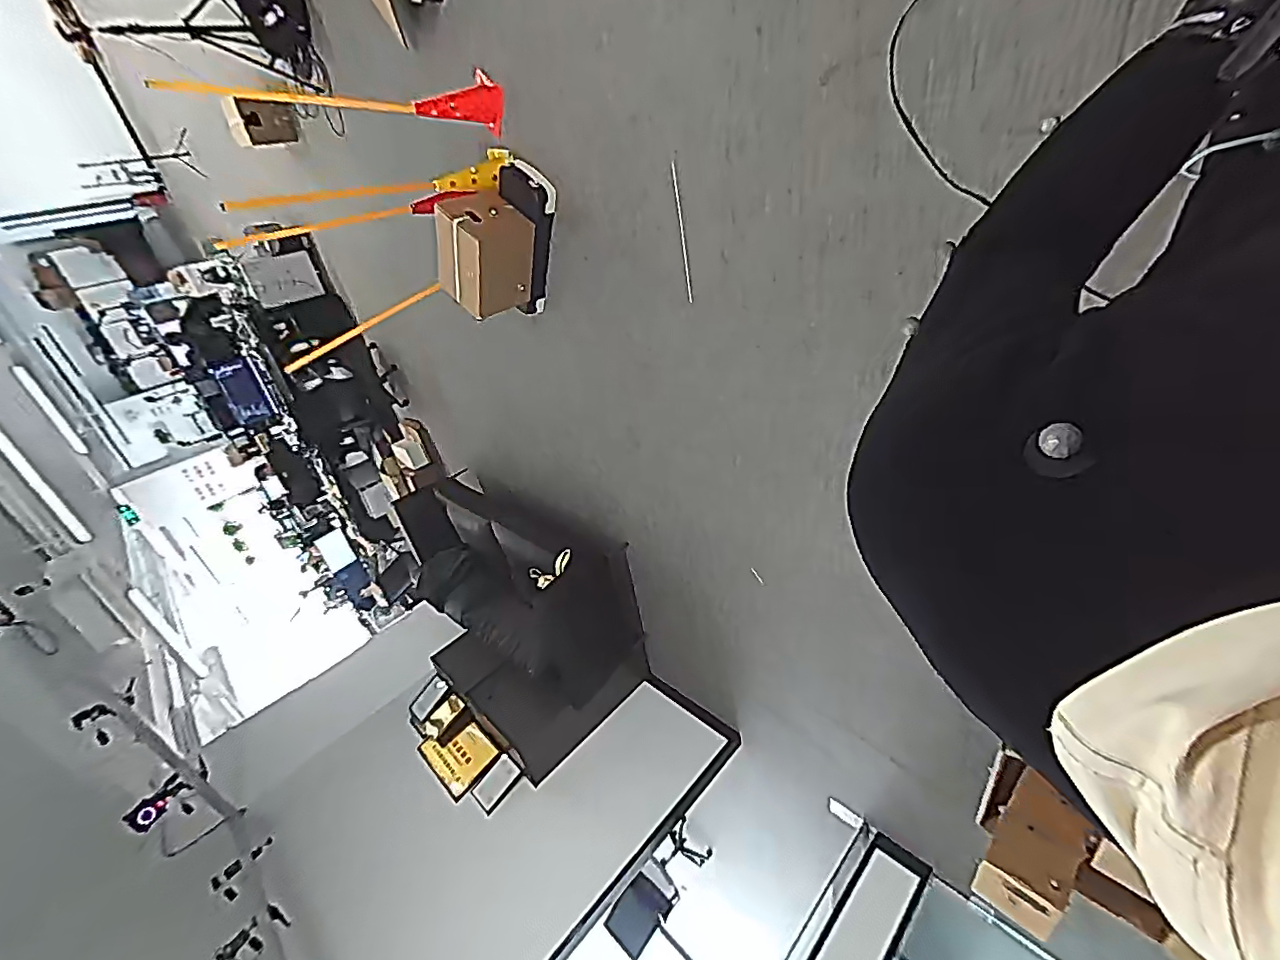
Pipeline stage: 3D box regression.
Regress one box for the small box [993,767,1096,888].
[{"bbox_3d":[1.076,0.916,1.437,0.168,0.176,0.179,23,133,41],"label":"small box"}]
